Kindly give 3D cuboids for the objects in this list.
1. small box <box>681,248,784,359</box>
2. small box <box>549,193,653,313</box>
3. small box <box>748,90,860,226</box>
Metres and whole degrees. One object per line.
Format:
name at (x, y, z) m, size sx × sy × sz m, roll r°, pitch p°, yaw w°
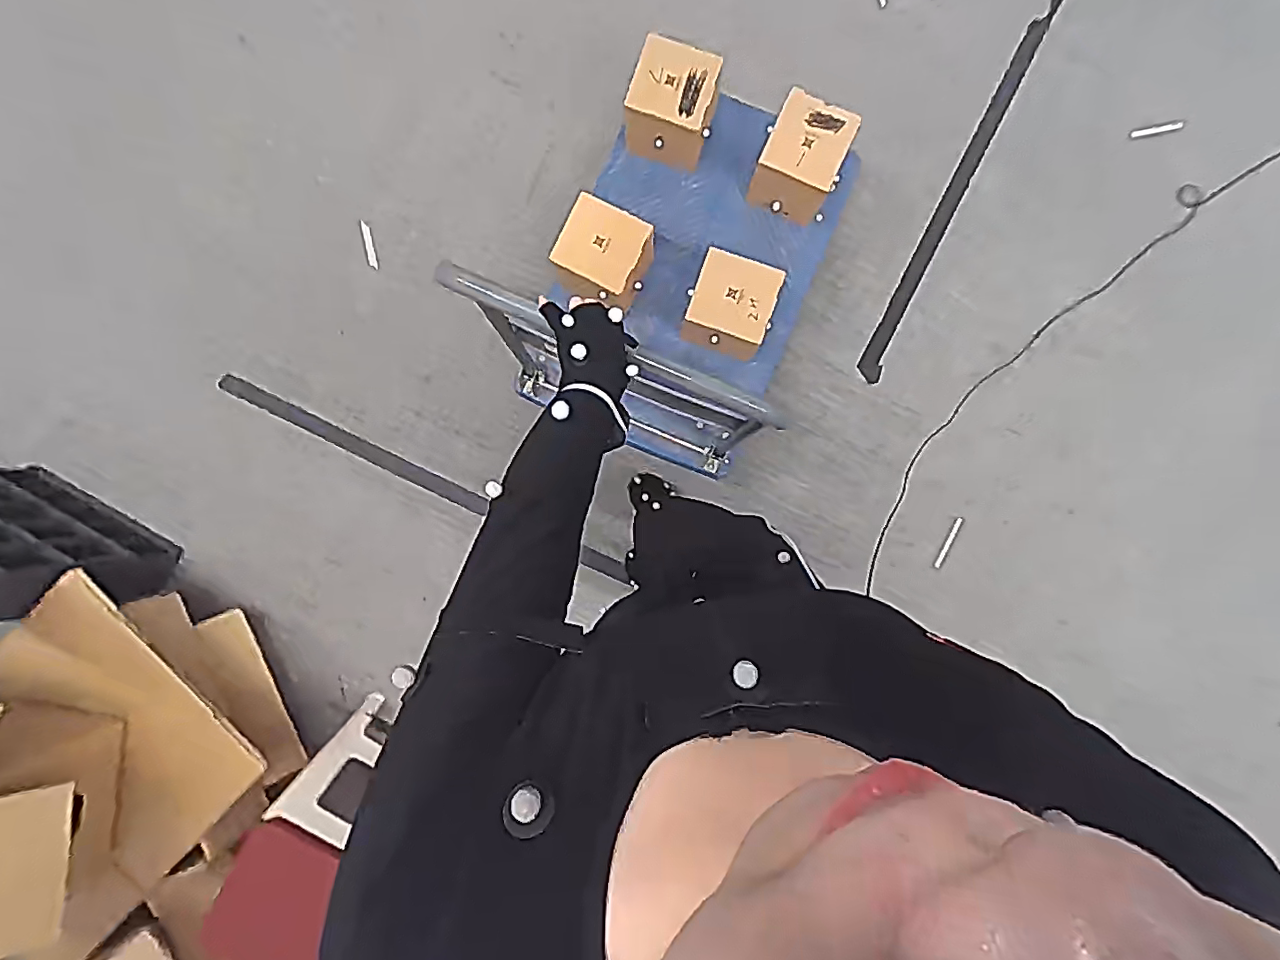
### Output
small box at (0.201, -0.392, 1.234) m, size 0.179 × 0.176 × 0.168 m, roll 20°, pitch 91°, yaw 1°
small box at (-0.085, -0.508, 1.239) m, size 0.179 × 0.176 × 0.168 m, roll 26°, pitch 90°, yaw -1°
small box at (0.361, -0.721, 1.231) m, size 0.168 × 0.176 × 0.179 m, roll 25°, pitch 92°, yaw 1°
